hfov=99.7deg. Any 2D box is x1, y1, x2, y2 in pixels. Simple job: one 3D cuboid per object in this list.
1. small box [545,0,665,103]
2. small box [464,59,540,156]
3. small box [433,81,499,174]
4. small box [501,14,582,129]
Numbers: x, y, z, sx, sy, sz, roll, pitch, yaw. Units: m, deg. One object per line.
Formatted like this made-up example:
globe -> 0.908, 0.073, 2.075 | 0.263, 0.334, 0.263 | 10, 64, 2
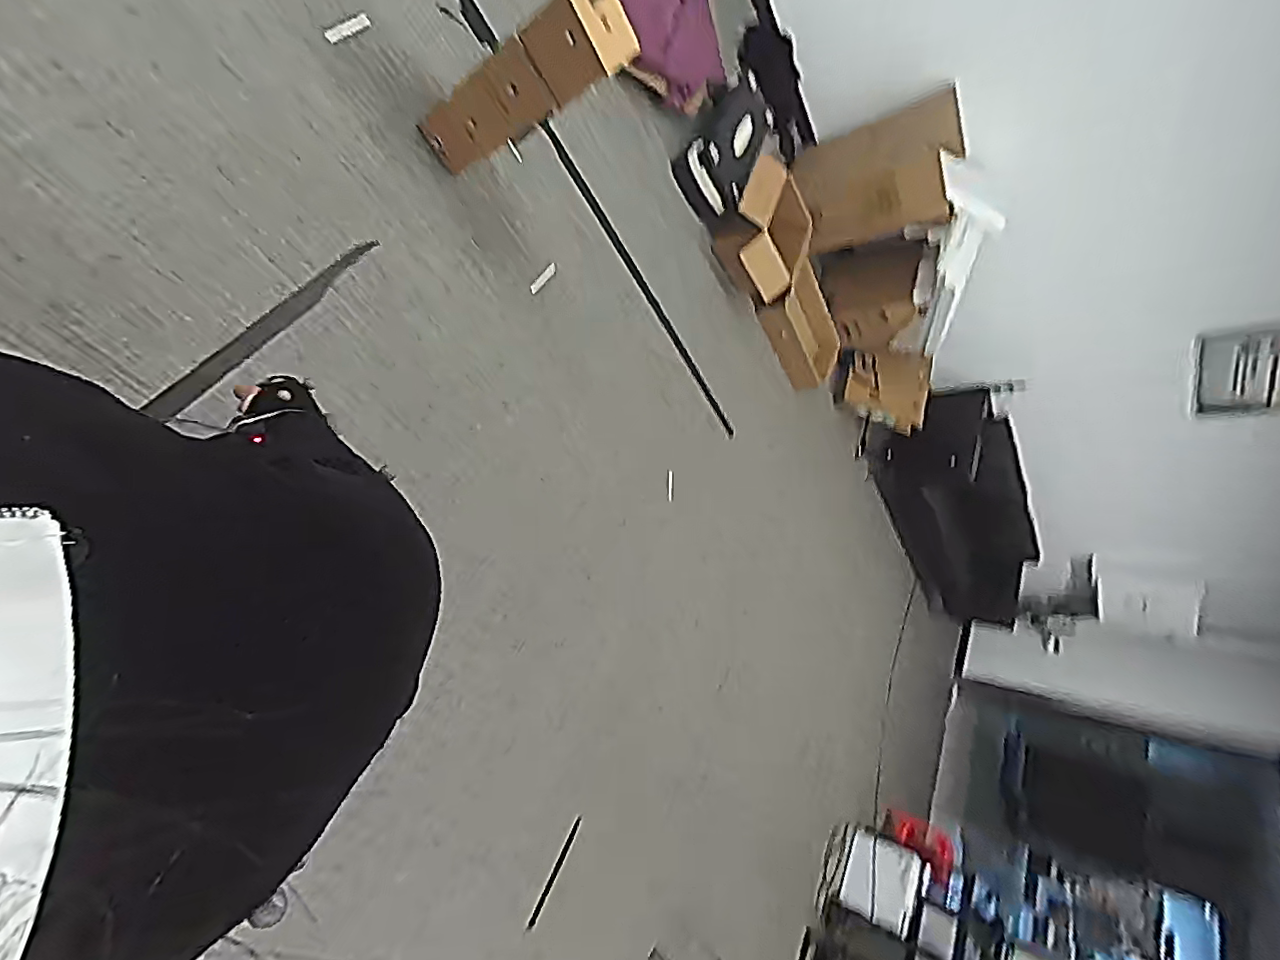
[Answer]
small box -> -0.080, -1.004, 1.219 | 0.179, 0.176, 0.168 | 51, 55, -35
small box -> -0.331, -1.006, 1.433 | 0.168, 0.176, 0.179 | 51, 55, -34
small box -> -0.453, -1.019, 1.544 | 0.168, 0.176, 0.179 | 51, 57, -34
small box -> -0.211, -1.003, 1.321 | 0.168, 0.176, 0.179 | 52, 55, -34
